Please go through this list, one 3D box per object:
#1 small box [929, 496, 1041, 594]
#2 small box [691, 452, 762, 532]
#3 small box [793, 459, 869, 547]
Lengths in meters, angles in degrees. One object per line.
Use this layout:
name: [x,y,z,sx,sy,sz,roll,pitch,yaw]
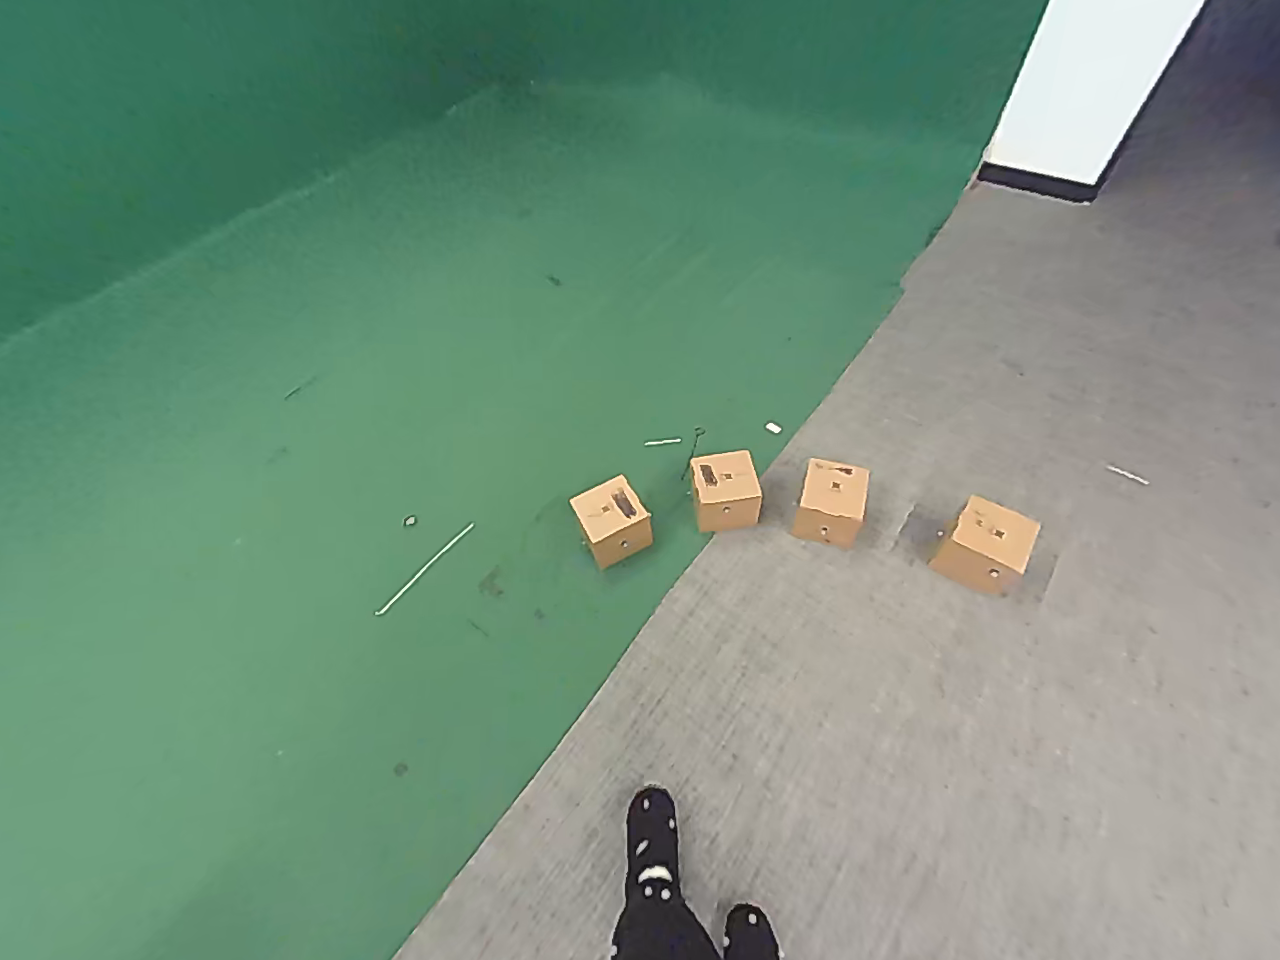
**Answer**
small box: [0.910,0.180,1.439,0.179,0.176,0.168,29,63,22]
small box: [0.252,0.040,1.607,0.179,0.176,0.168,-8,55,0]
small box: [0.545,0.071,1.555,0.168,0.176,0.179,14,59,15]
